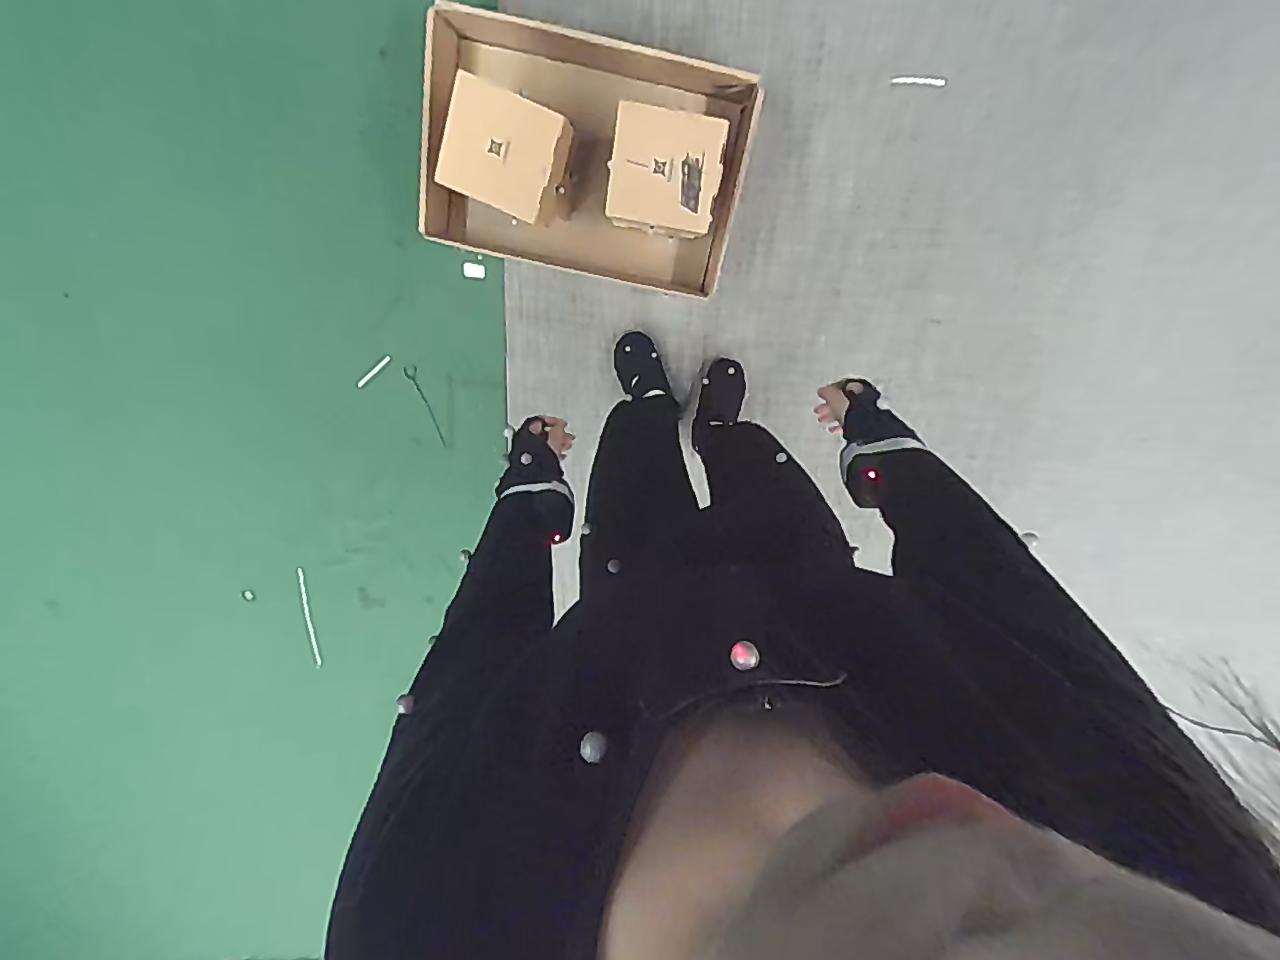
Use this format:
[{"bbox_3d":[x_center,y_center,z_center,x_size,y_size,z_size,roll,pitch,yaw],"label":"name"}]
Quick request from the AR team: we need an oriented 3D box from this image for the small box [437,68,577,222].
[{"bbox_3d":[-0.222,-0.564,0.939,0.179,0.176,0.168,20,112,-8],"label":"small box"}]

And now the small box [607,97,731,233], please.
[{"bbox_3d":[0.048,-0.533,0.938,0.179,0.176,0.168,10,113,0],"label":"small box"}]
